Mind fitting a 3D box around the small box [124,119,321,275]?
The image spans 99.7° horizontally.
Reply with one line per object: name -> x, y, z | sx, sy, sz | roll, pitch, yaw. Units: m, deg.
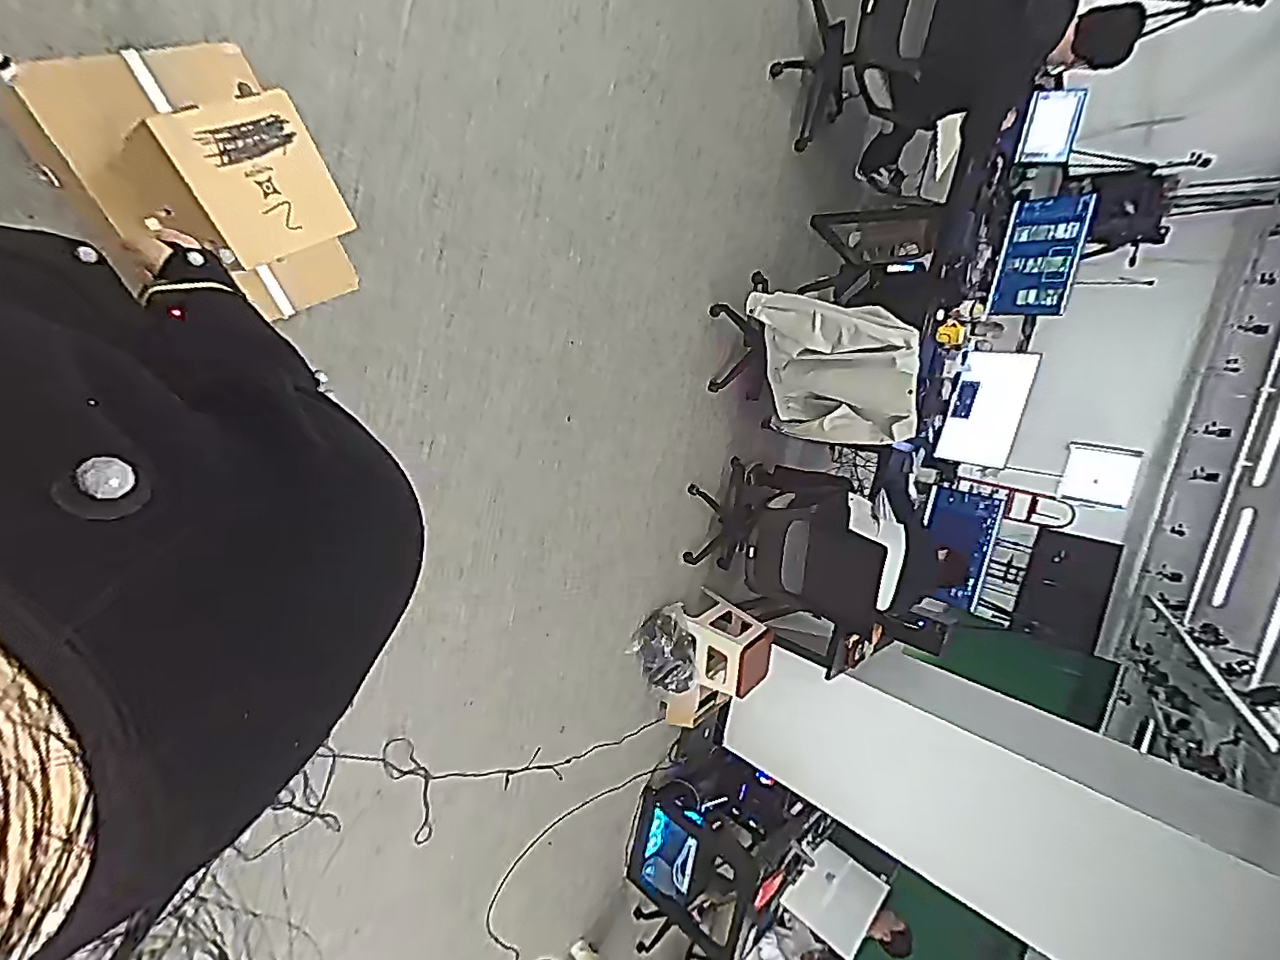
small box -> -0.659, -0.440, 0.857 | 0.168, 0.176, 0.179 | -43, 134, -30
